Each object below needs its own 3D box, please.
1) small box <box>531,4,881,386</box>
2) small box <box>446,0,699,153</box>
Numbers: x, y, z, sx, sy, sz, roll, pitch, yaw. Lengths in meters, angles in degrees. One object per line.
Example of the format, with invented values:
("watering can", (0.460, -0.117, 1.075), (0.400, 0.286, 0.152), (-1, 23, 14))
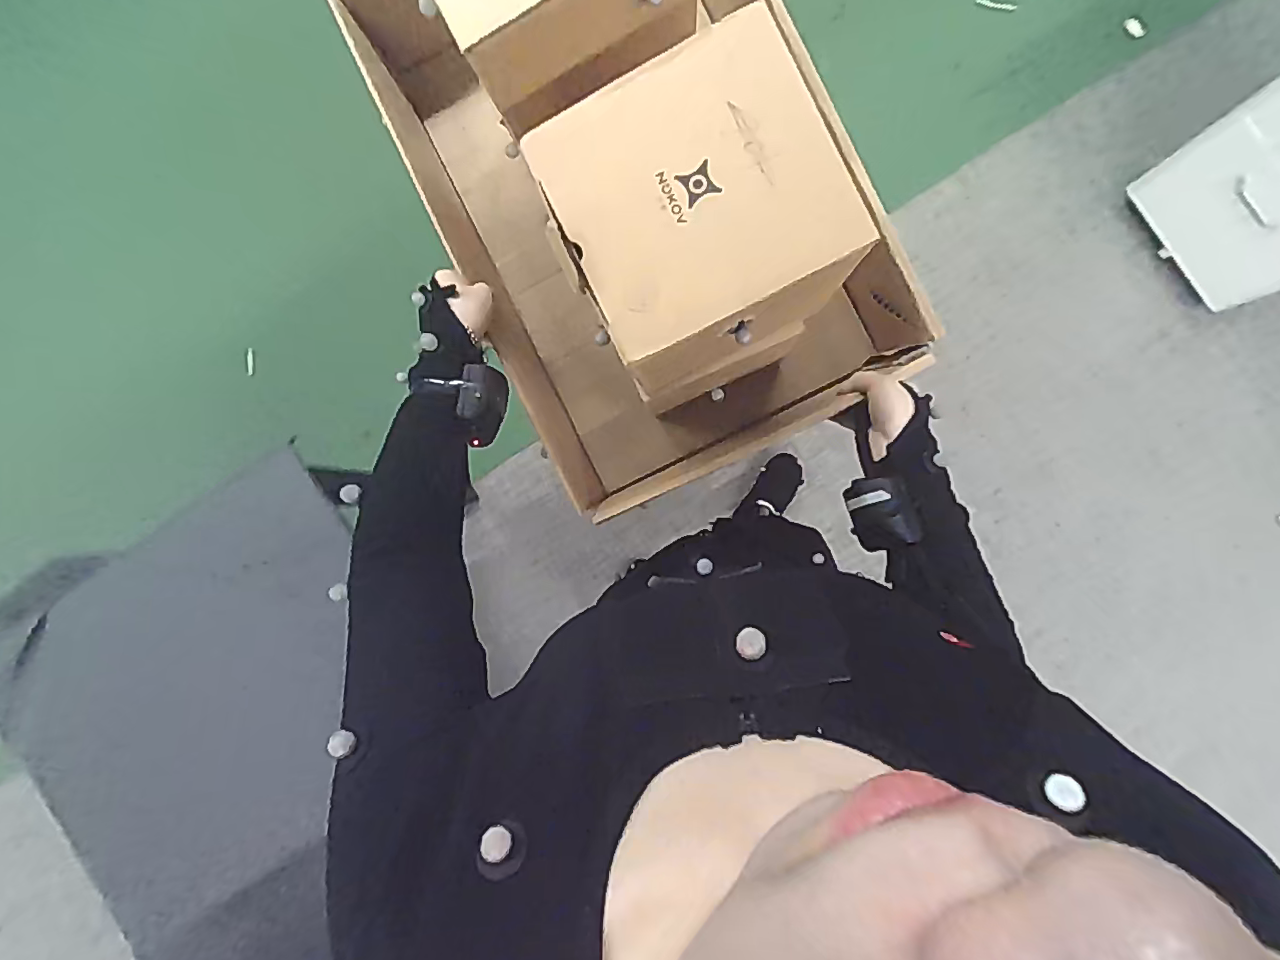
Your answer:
("small box", (0.047, -0.188, 0.421), (0.179, 0.176, 0.168), (-26, 90, 6))
("small box", (-0.060, -0.395, 0.425), (0.179, 0.176, 0.168), (-27, 91, 5))
